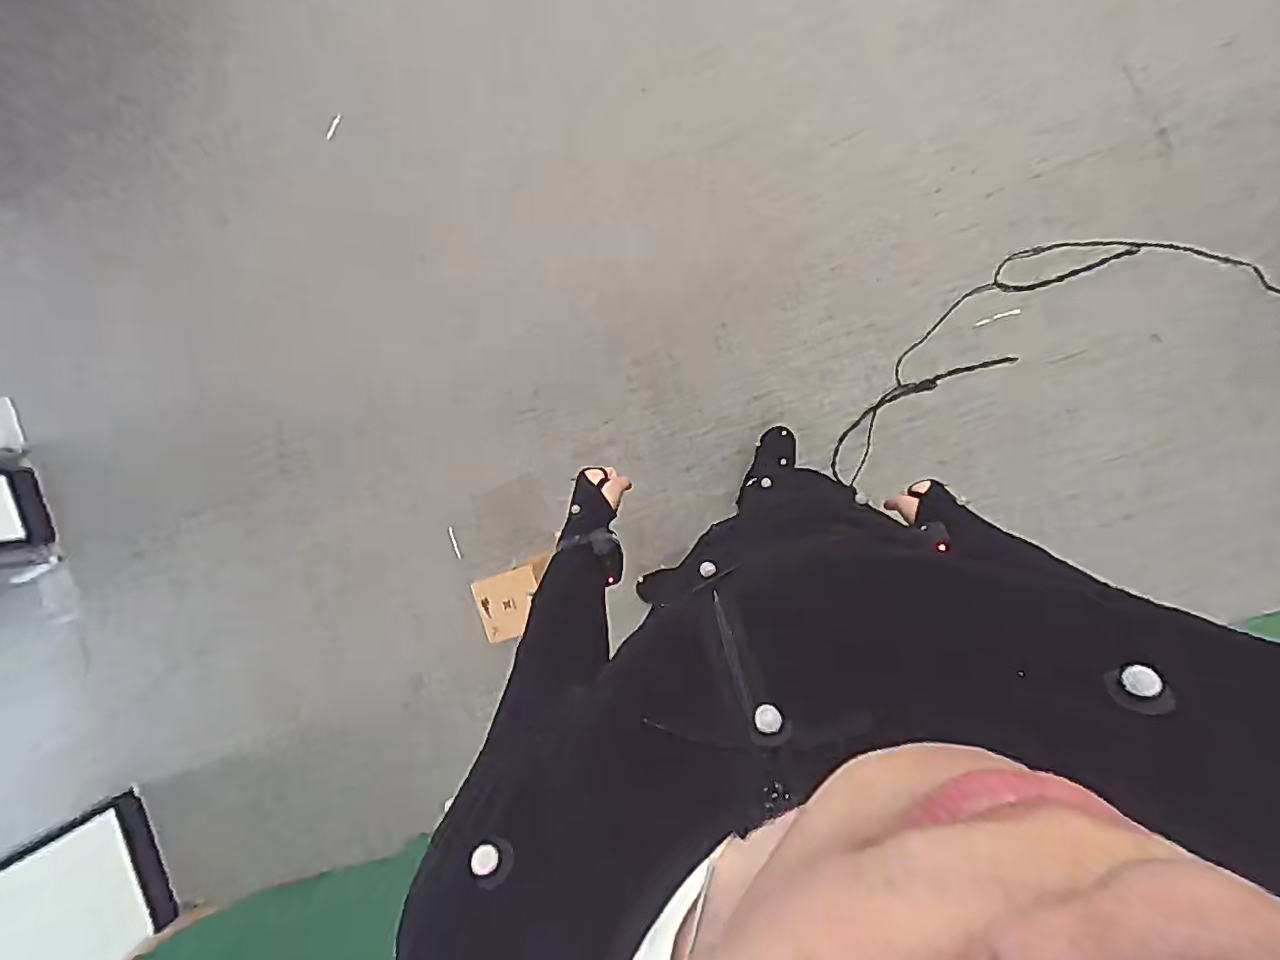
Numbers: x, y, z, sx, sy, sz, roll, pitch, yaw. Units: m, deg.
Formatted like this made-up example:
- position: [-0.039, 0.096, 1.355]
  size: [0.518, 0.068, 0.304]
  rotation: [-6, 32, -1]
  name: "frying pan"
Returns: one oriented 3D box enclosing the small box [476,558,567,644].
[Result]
- position: [-0.309, 0.321, 1.465]
  size: [0.179, 0.176, 0.168]
  rotation: [-19, 88, 8]
  name: "small box"
